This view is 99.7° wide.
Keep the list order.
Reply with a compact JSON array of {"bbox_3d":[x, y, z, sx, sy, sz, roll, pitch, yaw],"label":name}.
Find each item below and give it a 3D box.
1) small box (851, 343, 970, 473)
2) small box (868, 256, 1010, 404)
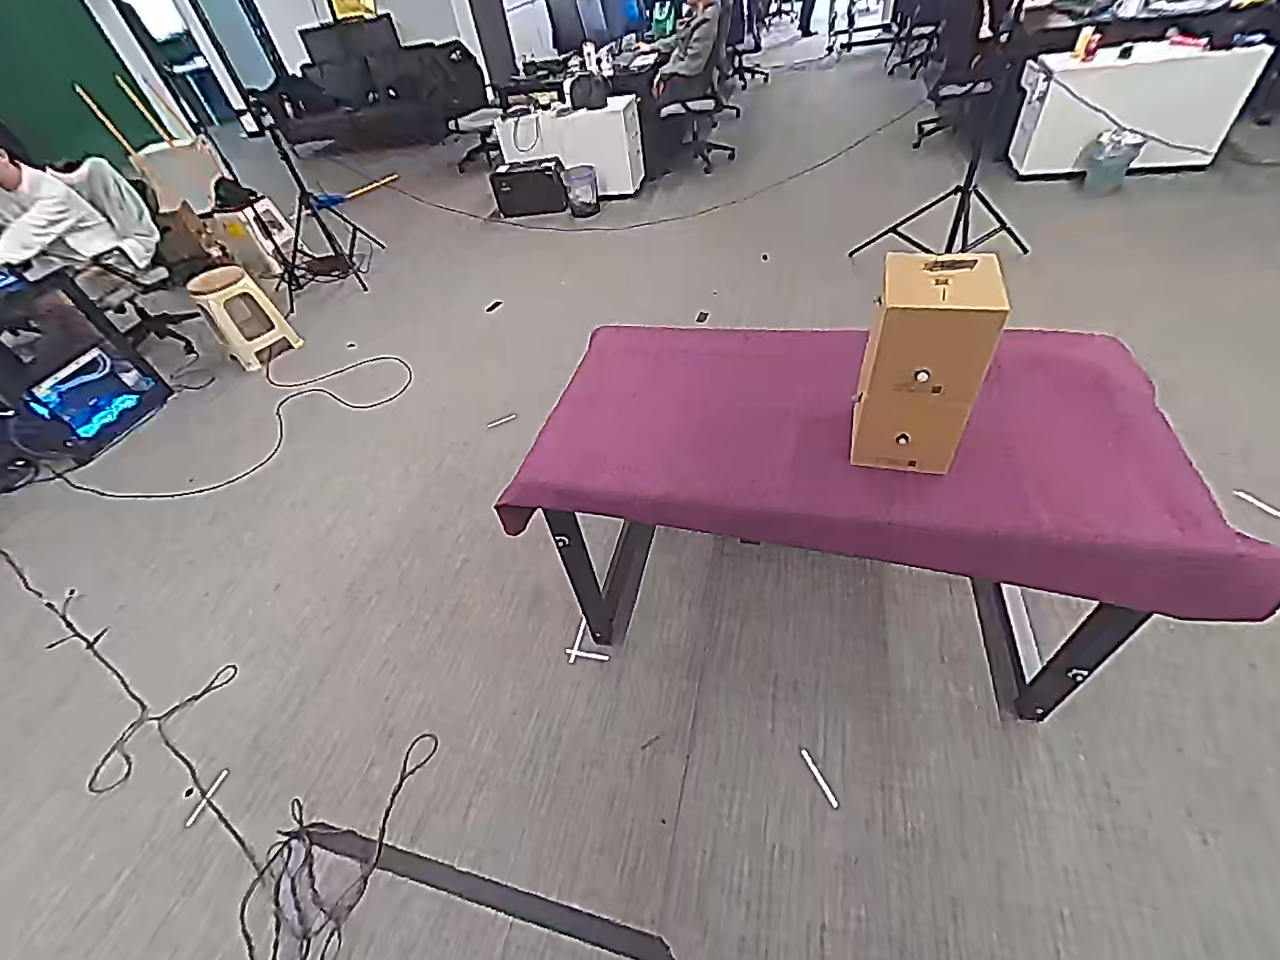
[{"bbox_3d":[0.495,-0.134,1.010,0.168,0.176,0.179,8,48,17],"label":"small box"},{"bbox_3d":[0.479,-0.250,0.895,0.168,0.176,0.179,7,48,17],"label":"small box"}]
